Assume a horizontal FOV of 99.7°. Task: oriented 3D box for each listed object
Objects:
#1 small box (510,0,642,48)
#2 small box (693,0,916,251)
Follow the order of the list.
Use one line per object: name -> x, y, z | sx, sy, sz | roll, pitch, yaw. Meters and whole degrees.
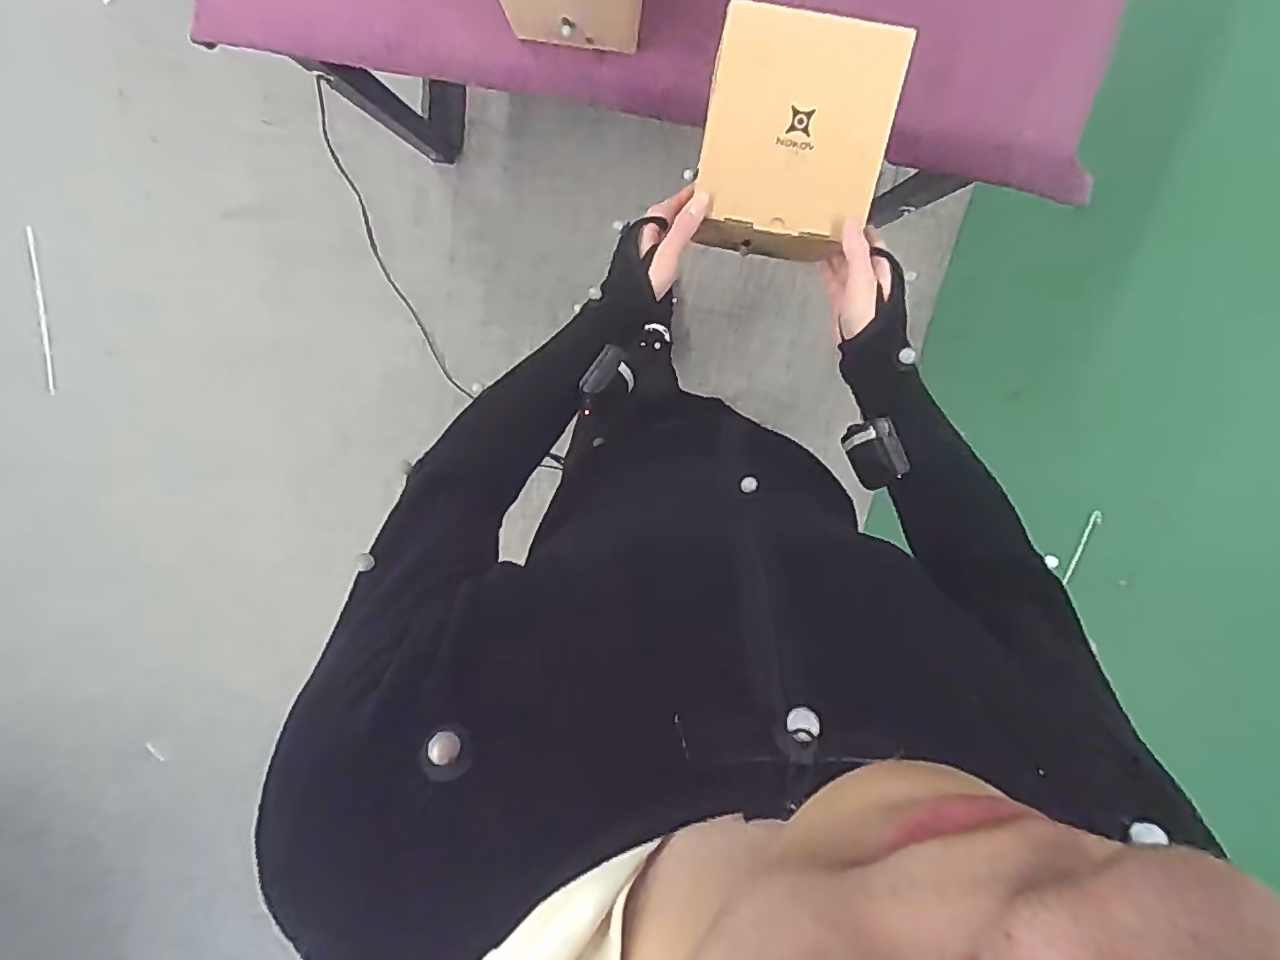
small box -> -0.075, -0.649, 0.620 | 0.168, 0.176, 0.179 | 8, 105, 0
small box -> 0.151, -0.353, 0.568 | 0.168, 0.176, 0.179 | 10, 108, 1
